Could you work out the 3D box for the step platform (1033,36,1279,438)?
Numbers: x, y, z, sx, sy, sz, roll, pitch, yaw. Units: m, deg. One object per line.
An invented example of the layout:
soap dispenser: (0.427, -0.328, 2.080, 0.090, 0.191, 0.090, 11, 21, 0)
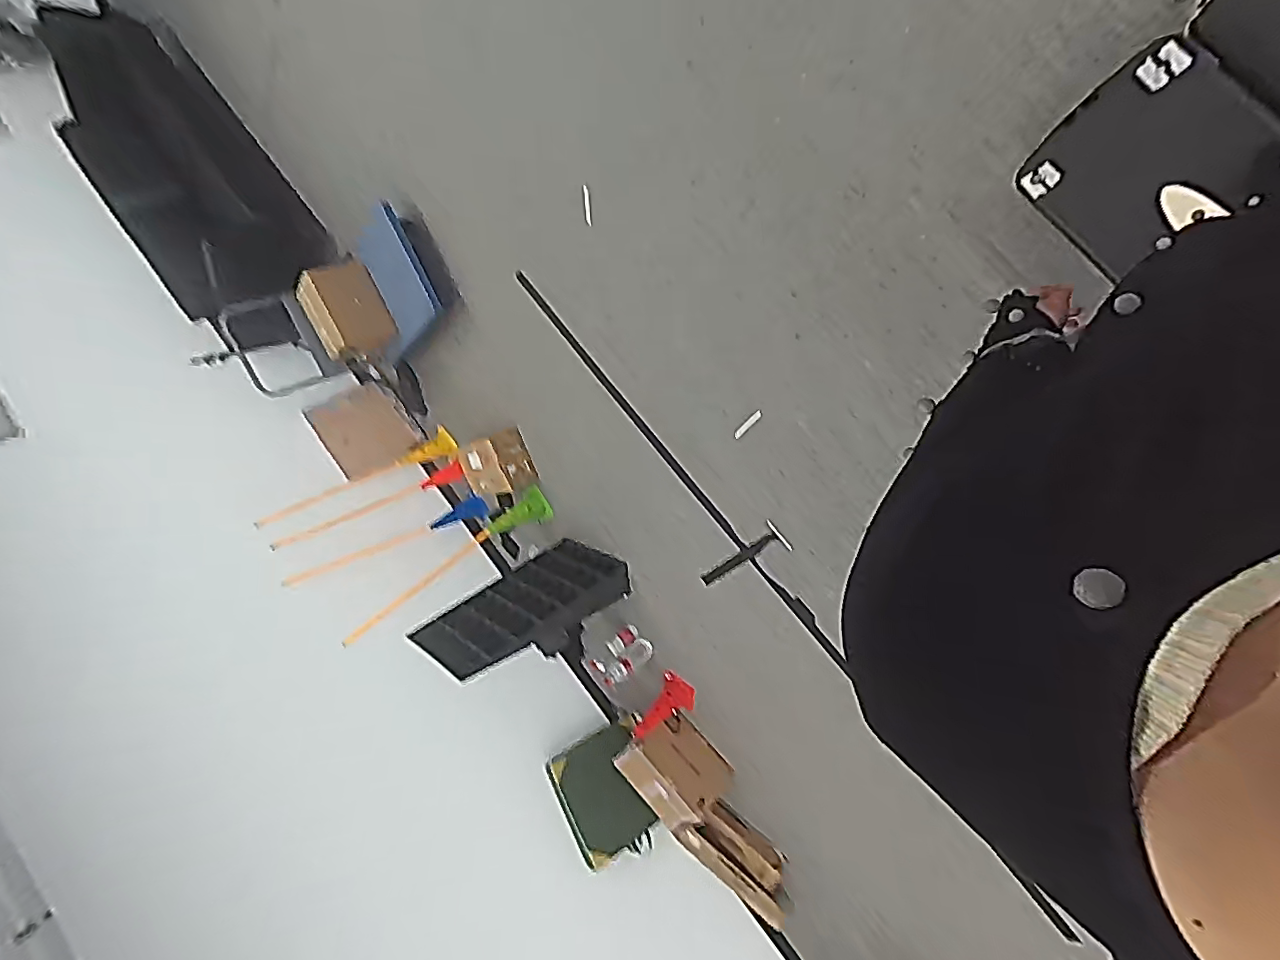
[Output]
step platform: (1.045, -0.414, 0.960, 0.684, 0.204, 0.286, 56, 140, 7)
